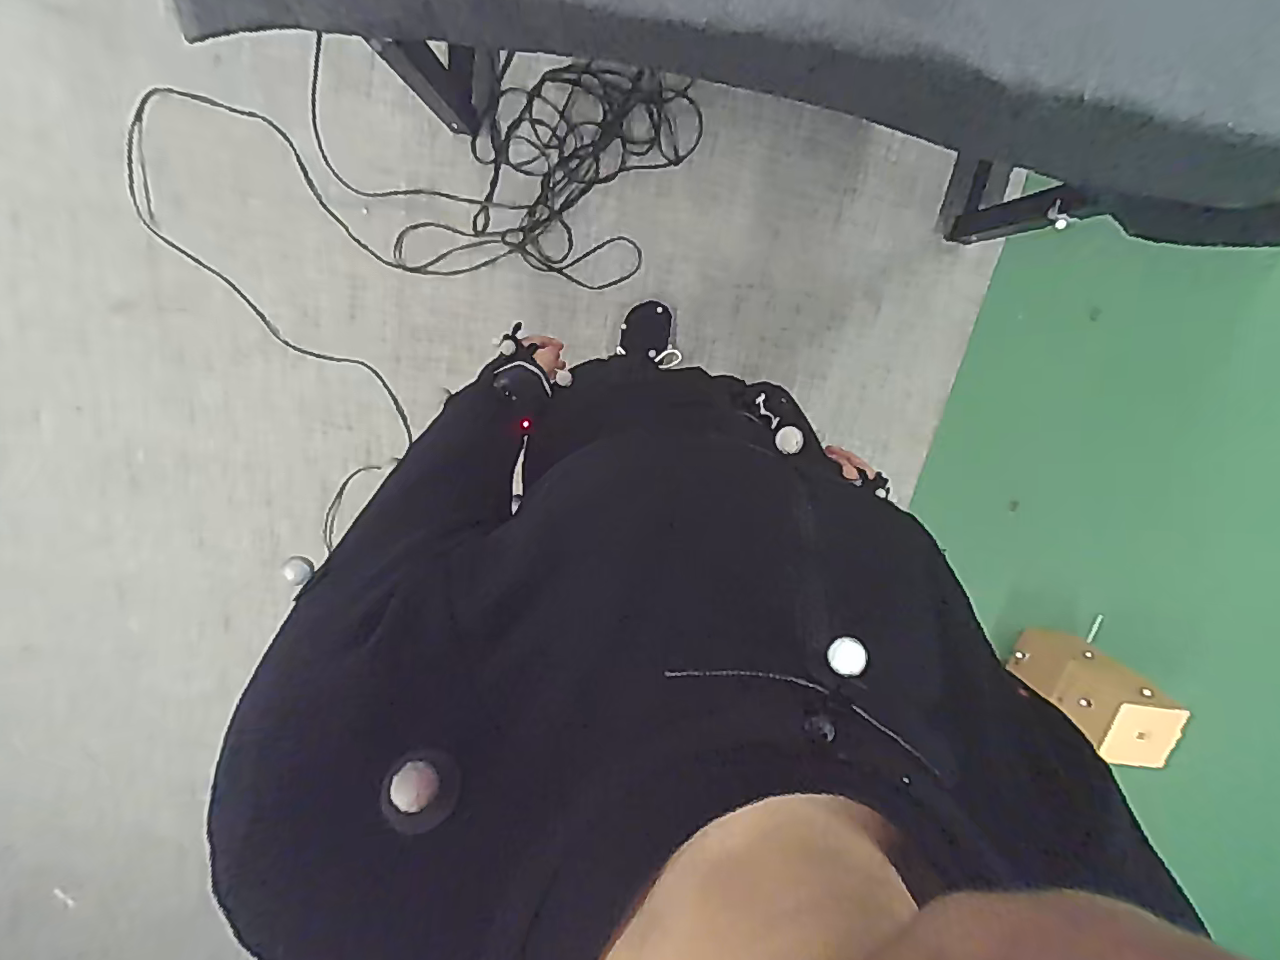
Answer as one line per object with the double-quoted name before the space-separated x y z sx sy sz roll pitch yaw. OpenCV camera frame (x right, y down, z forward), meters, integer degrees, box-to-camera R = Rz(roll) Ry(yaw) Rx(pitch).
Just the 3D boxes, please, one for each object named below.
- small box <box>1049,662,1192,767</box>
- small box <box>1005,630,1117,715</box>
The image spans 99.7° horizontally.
"small box" 1.170 0.570 1.334 0.179 0.176 0.168 8 106 -5
"small box" 1.167 0.534 1.493 0.179 0.176 0.168 9 105 -4
